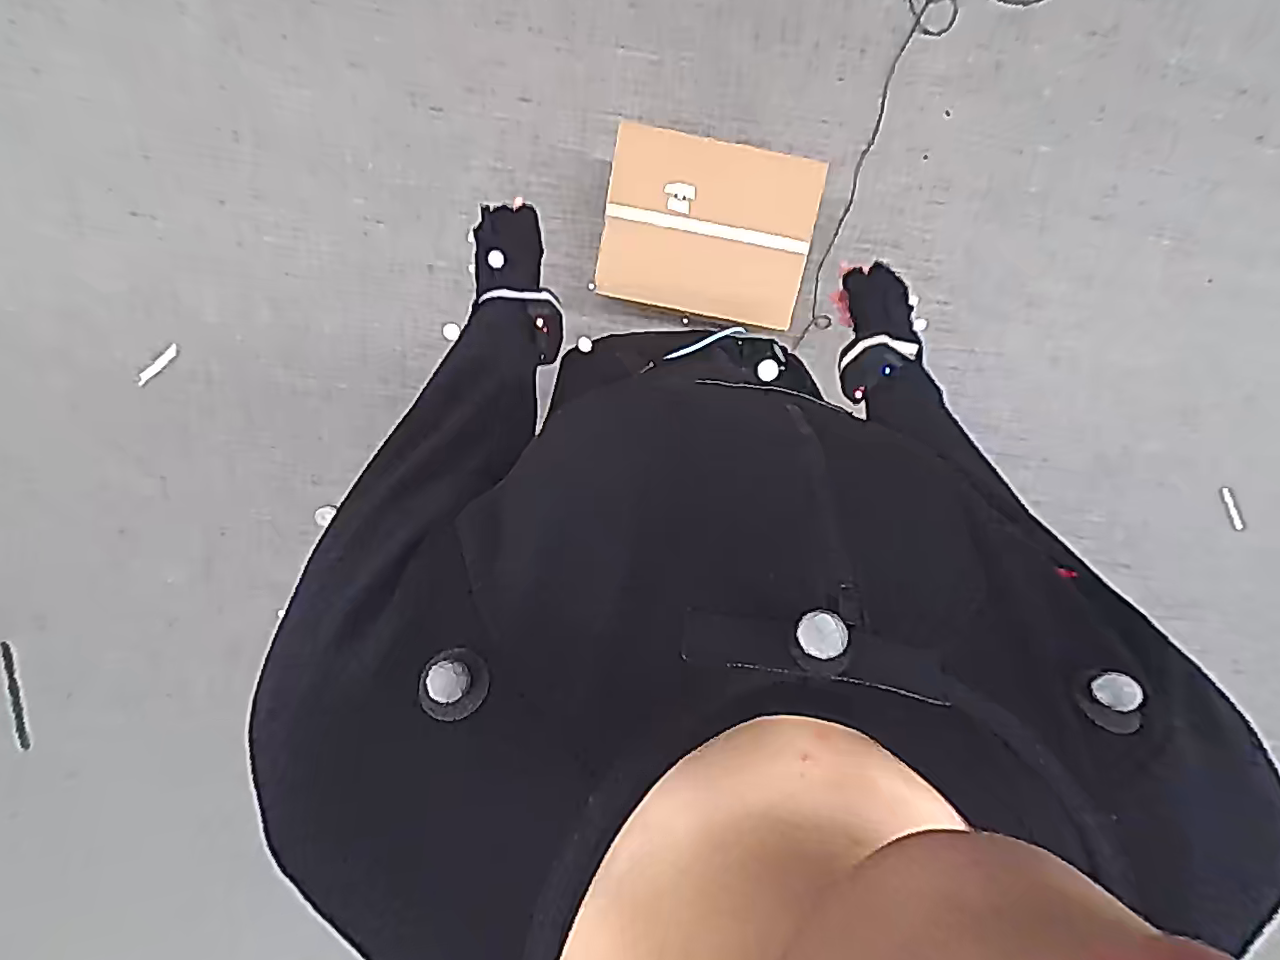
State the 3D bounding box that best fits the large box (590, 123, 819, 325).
[{"bbox_3d":[0.126,-0.534,1.202,0.408,0.320,0.320,11,105,-1],"label":"large box"}]
